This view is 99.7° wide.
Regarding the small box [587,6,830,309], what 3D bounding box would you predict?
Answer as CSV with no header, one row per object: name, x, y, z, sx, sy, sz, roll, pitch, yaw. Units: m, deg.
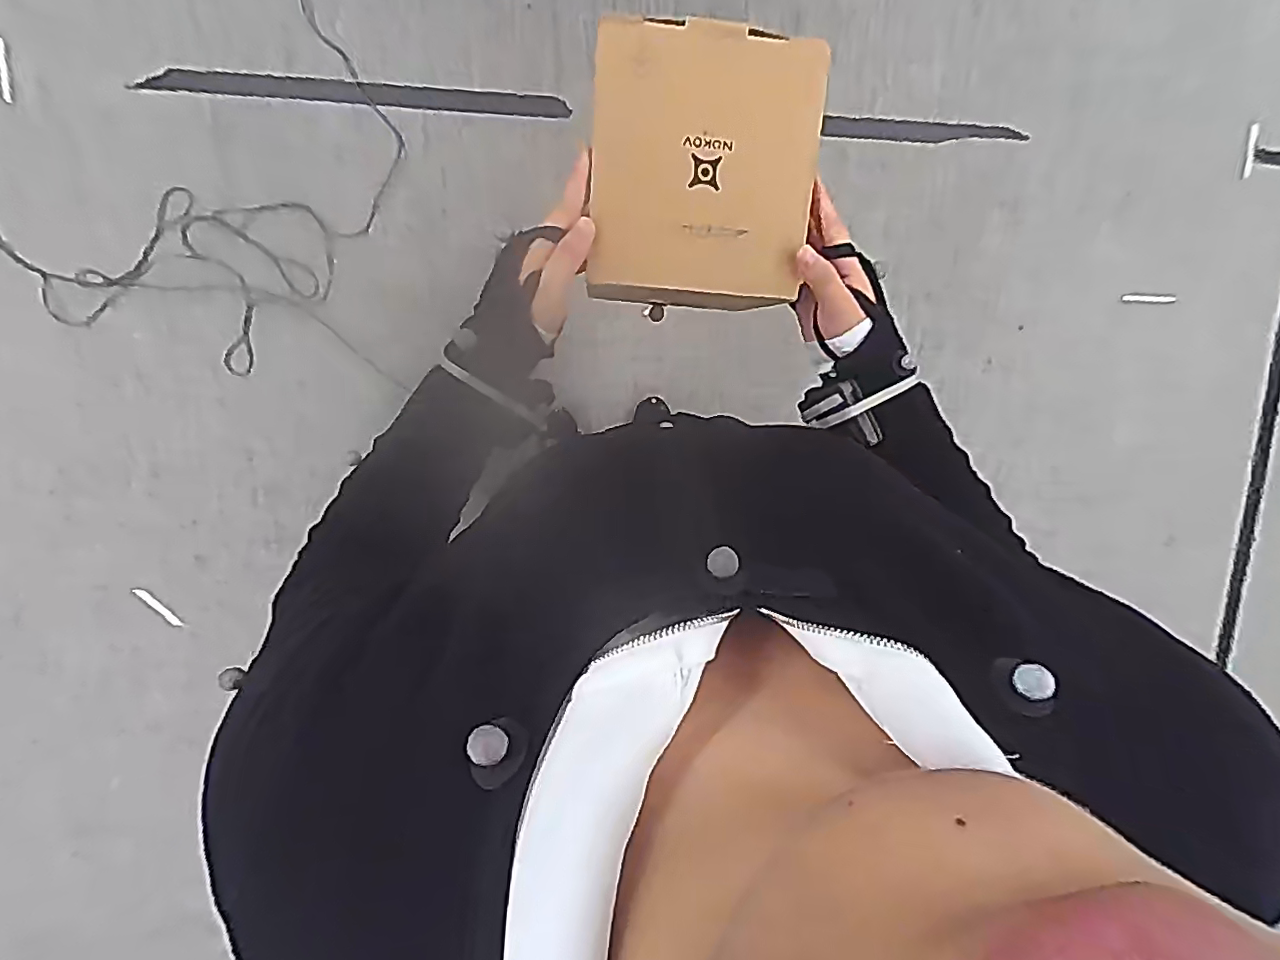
small box,0.041,-0.251,0.471,0.168,0.176,0.179,3,104,-6
